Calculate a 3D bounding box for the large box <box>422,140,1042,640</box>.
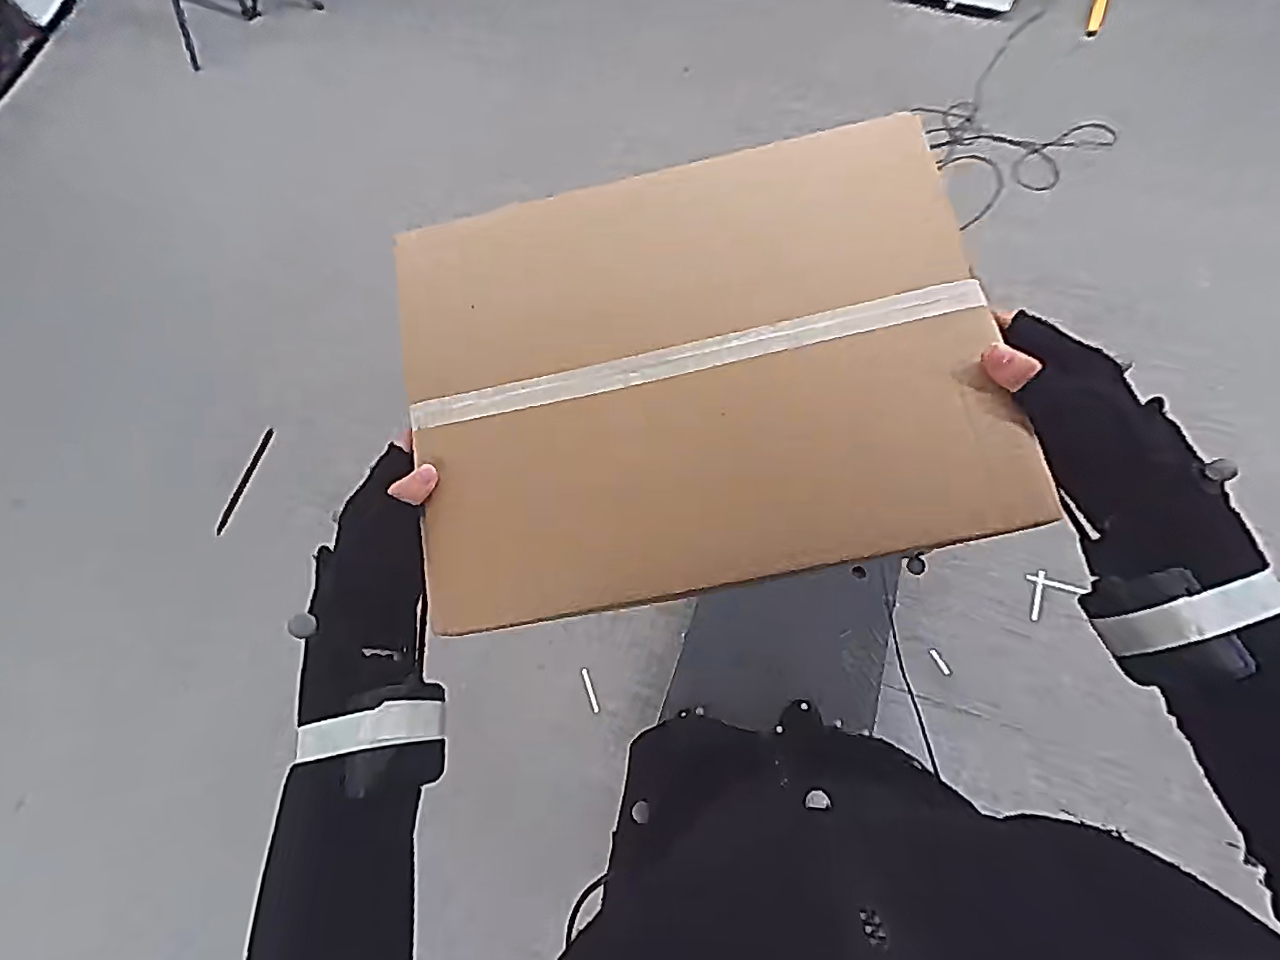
[{"bbox_3d":[0.060,-0.045,0.538,0.408,0.320,0.320,-11,76,5],"label":"large box"}]
